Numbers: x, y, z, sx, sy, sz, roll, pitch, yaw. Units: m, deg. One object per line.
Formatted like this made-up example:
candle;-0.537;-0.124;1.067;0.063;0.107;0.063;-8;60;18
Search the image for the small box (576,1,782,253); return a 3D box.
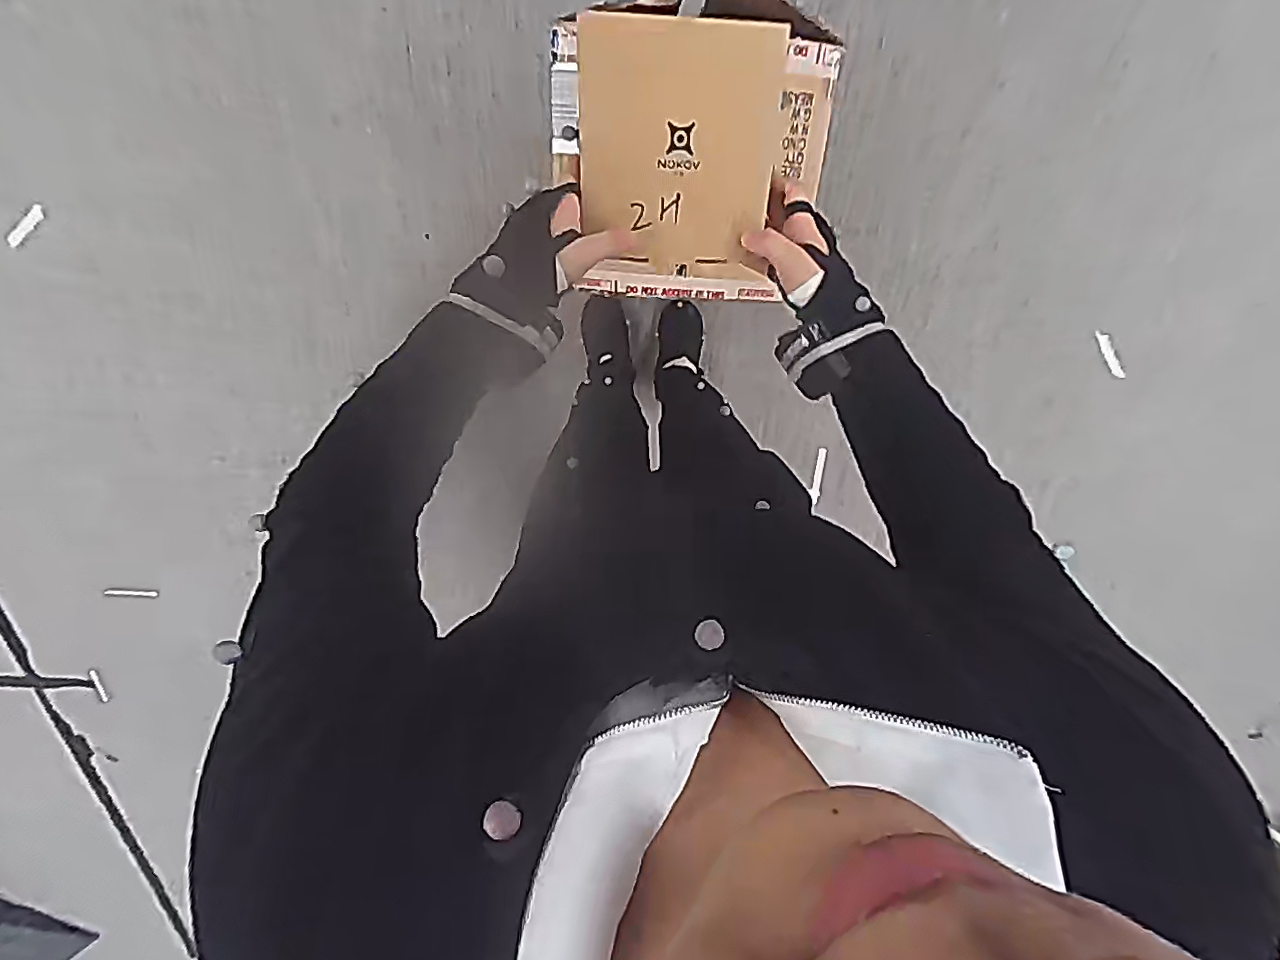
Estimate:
small box;0.022;-0.326;0.528;0.168;0.176;0.179;-1;119;-5
